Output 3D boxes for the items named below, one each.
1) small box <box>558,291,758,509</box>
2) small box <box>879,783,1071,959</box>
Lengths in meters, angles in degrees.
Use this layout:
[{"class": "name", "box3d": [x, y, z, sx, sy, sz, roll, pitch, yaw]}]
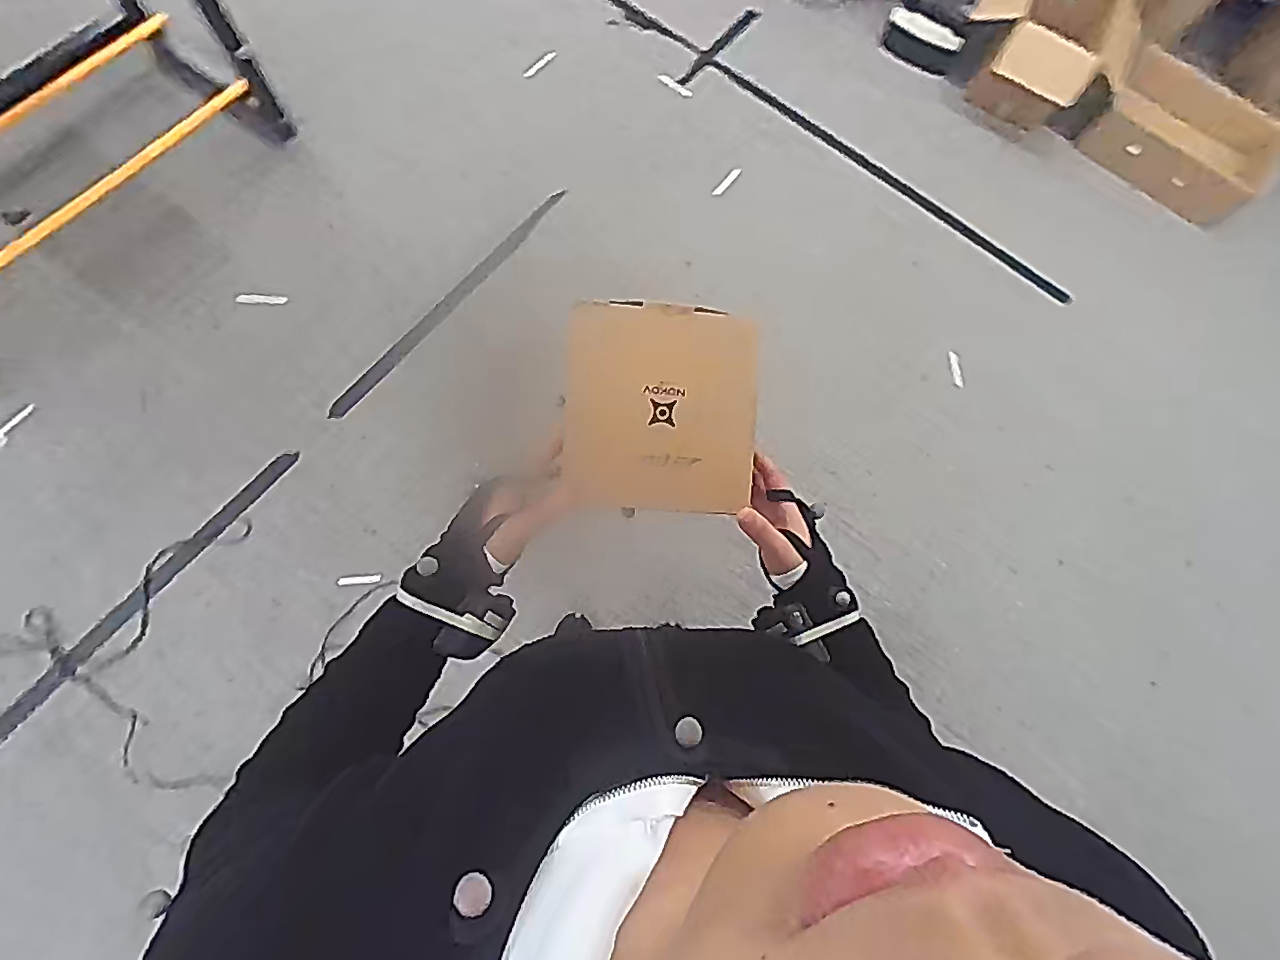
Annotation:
[{"class": "small box", "box3d": [0.008, -0.067, 0.536, 0.168, 0.176, 0.179, 3, 91, -6]}, {"class": "small box", "box3d": [0.536, 0.634, 0.887, 0.179, 0.176, 0.168, 35, 73, 7]}]
